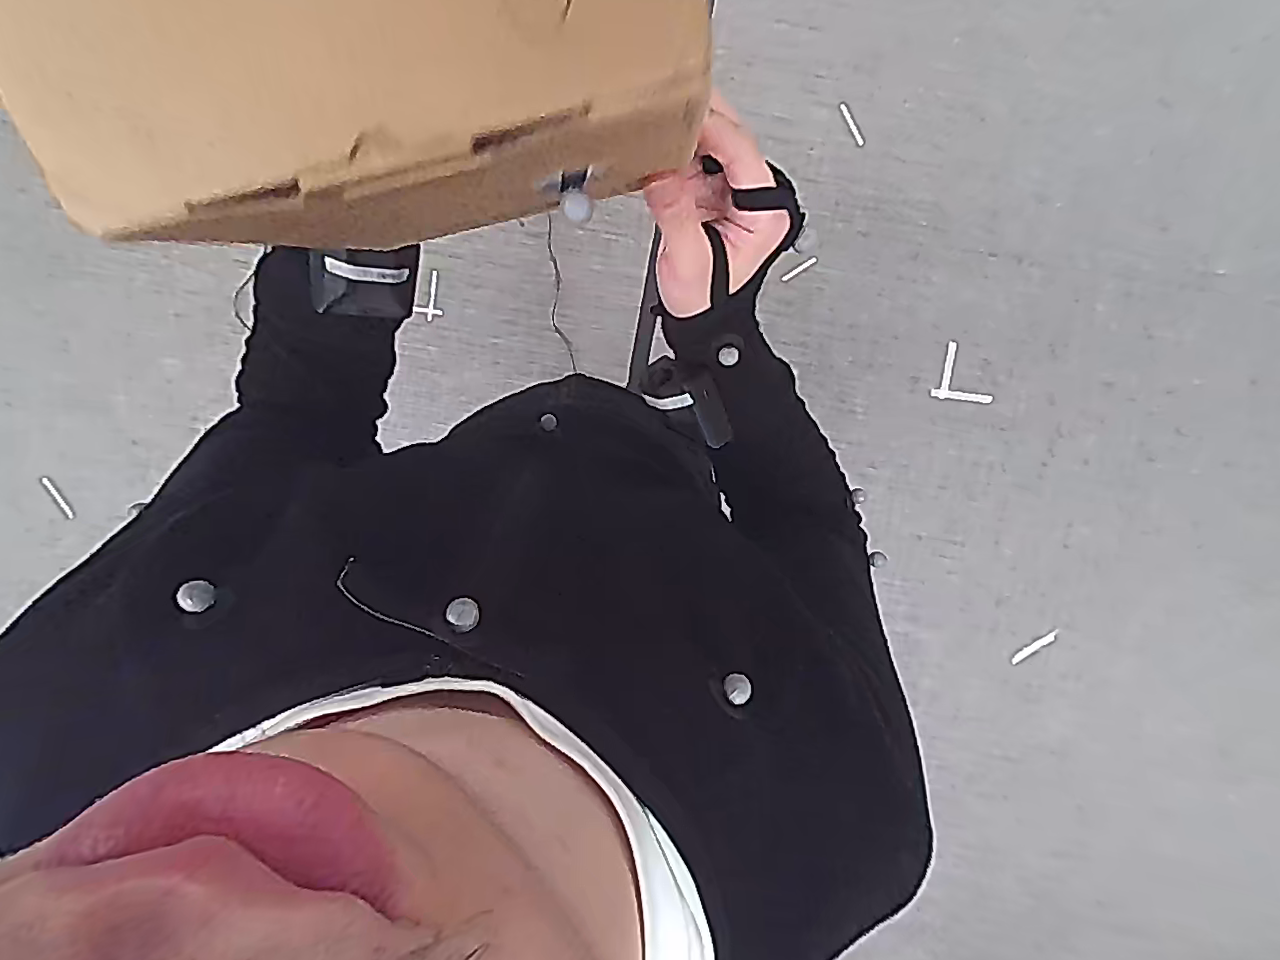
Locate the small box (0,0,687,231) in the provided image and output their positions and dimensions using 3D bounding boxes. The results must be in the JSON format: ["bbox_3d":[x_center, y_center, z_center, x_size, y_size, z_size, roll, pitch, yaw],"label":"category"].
[{"bbox_3d":[-0.082,-0.194,0.185,0.168,0.176,0.179,-11,110,4],"label":"small box"}]
